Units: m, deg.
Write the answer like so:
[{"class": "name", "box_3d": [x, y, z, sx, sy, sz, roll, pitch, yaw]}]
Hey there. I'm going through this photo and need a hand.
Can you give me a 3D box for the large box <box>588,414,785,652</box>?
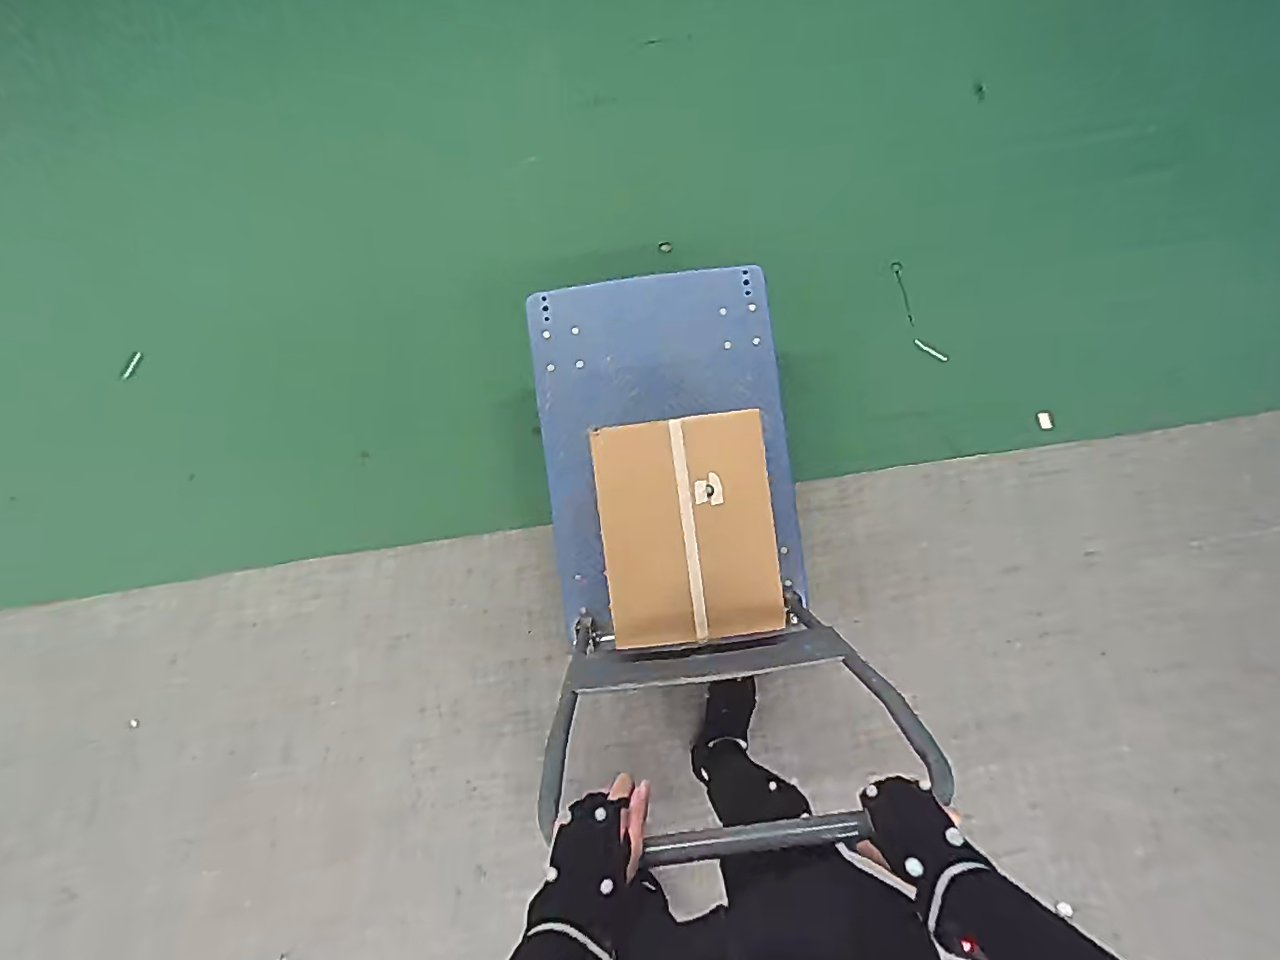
[{"class": "large box", "box_3d": [0.088, 0.100, 1.128, 0.320, 0.320, 0.408, -7, 88, 0]}]
